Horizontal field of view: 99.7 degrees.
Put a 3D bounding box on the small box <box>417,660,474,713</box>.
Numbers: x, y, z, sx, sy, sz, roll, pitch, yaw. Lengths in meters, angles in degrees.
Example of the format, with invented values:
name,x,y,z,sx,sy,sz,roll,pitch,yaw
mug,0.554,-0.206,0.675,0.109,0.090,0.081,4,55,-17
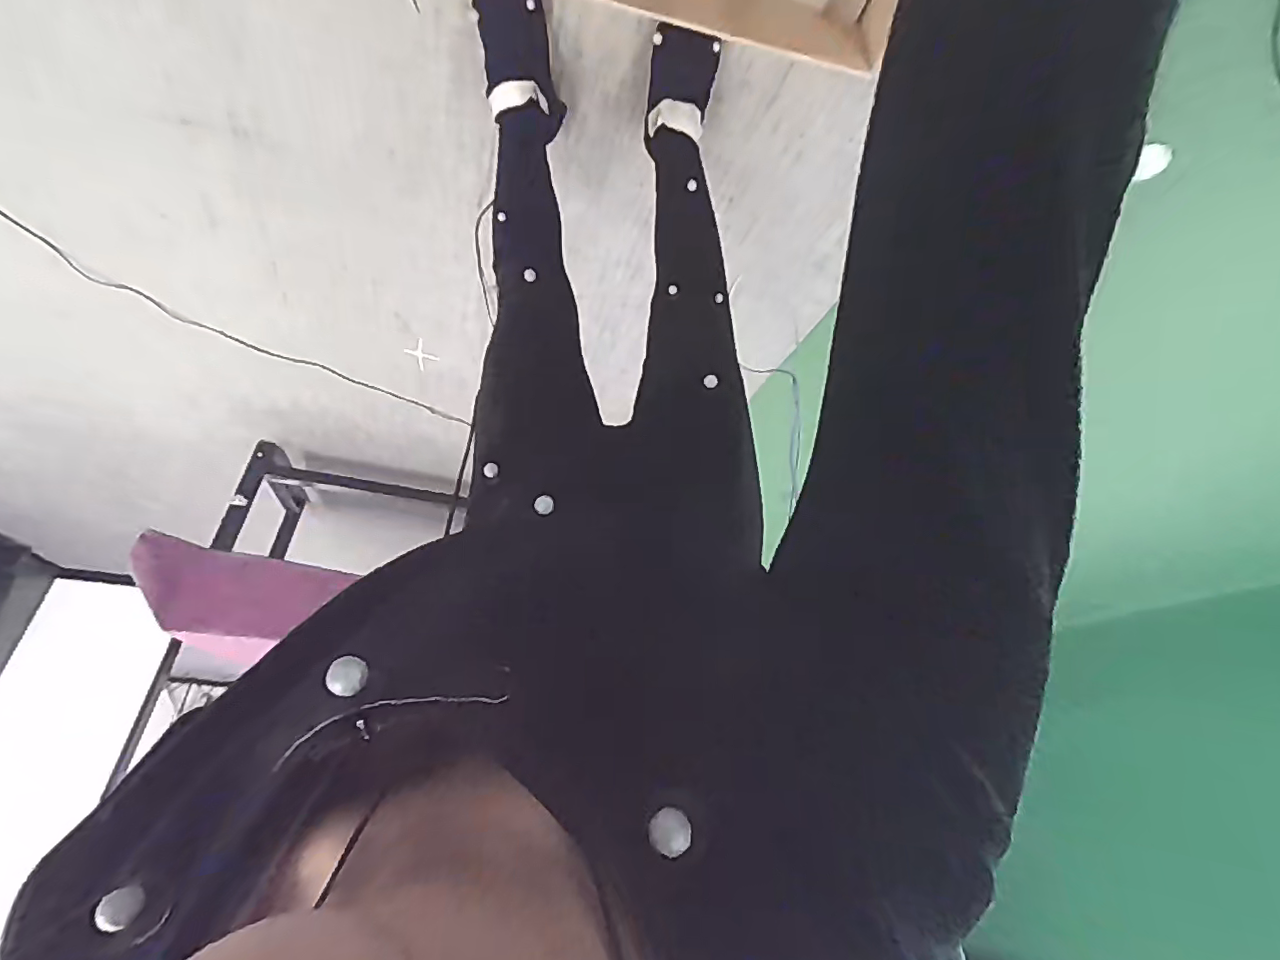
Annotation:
name,x,y,z,sx,sy,sz,roll,pitch,yaw
small box,-0.765,0.814,2.135,0.179,0.176,0.168,11,151,-12
